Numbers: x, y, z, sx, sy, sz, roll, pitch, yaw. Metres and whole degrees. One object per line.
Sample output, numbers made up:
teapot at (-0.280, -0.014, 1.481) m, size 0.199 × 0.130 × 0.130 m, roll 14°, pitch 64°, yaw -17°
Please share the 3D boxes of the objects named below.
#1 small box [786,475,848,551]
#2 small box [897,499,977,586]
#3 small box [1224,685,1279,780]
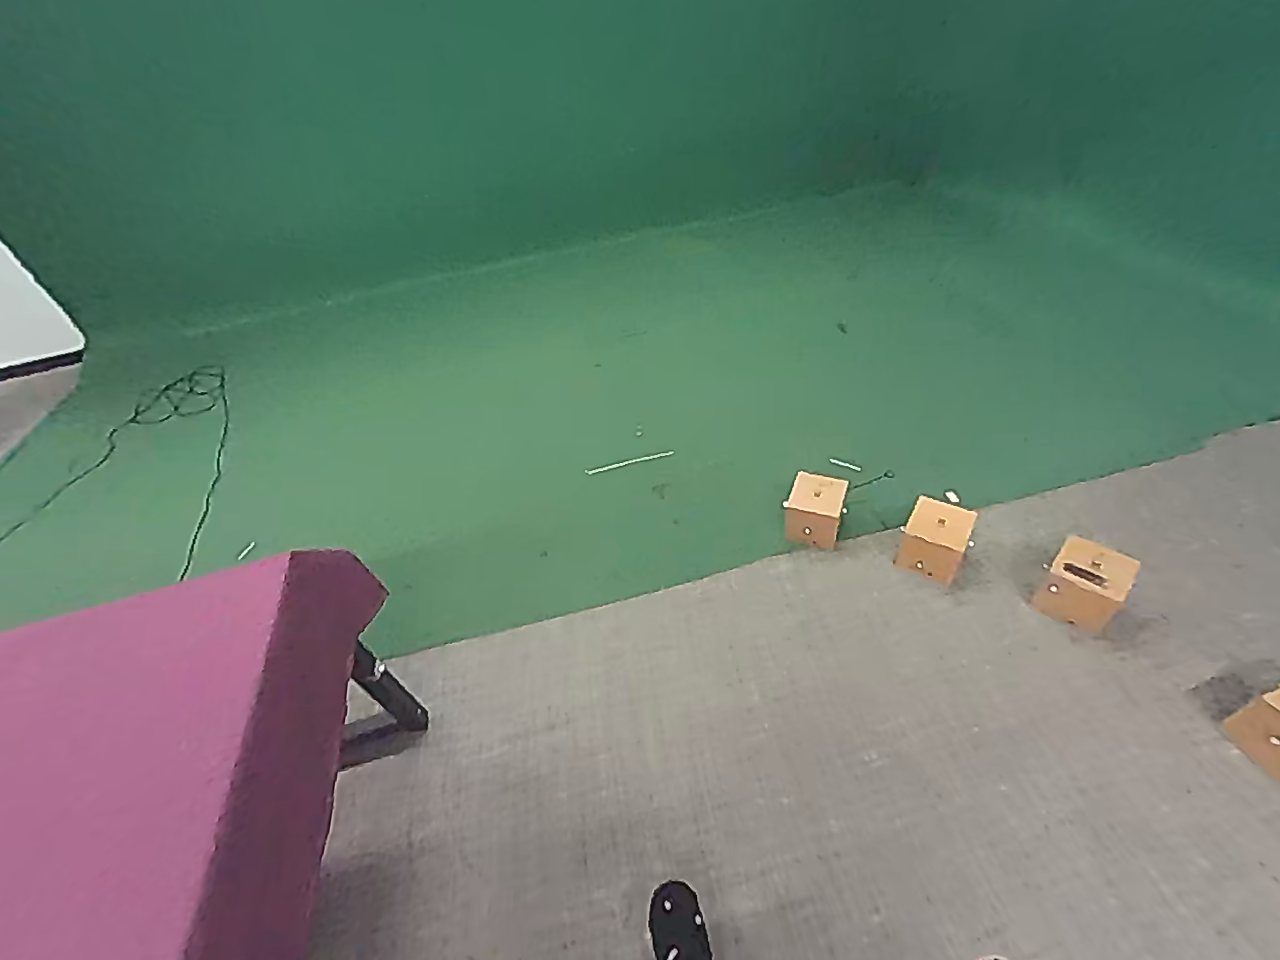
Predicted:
small box at (0.596, 0.115, 1.829) m, size 0.168 × 0.176 × 0.179 m, roll 13°, pitch 47°, yaw 23°
small box at (0.919, 0.194, 1.683) m, size 0.168 × 0.176 × 0.179 m, roll 20°, pitch 51°, yaw 29°
small box at (1.464, 0.556, 1.180) m, size 0.168 × 0.176 × 0.179 m, roll -19°, pitch 42°, yaw -8°
